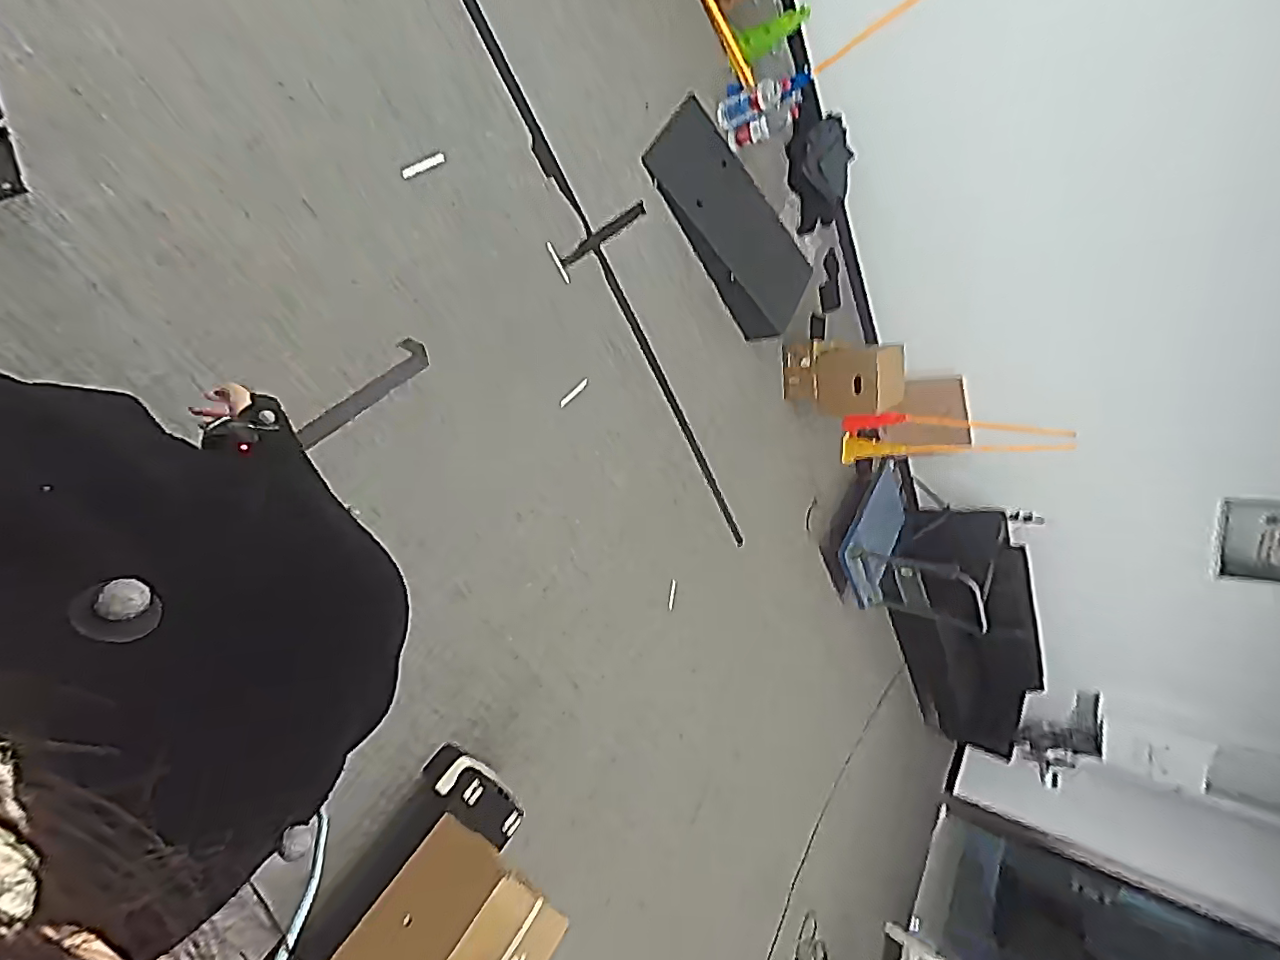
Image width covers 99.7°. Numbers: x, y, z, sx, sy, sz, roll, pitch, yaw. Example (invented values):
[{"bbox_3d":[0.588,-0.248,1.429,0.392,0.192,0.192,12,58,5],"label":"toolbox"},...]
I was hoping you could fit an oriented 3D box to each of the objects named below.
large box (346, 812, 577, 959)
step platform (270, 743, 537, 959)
[{"bbox_3d":[-0.440,1.141,1.327,0.408,0.320,0.320,-50,126,-32],"label":"large box"},{"bbox_3d":[-0.606,1.107,1.495,0.684,0.204,0.286,-45,122,-35],"label":"step platform"}]
